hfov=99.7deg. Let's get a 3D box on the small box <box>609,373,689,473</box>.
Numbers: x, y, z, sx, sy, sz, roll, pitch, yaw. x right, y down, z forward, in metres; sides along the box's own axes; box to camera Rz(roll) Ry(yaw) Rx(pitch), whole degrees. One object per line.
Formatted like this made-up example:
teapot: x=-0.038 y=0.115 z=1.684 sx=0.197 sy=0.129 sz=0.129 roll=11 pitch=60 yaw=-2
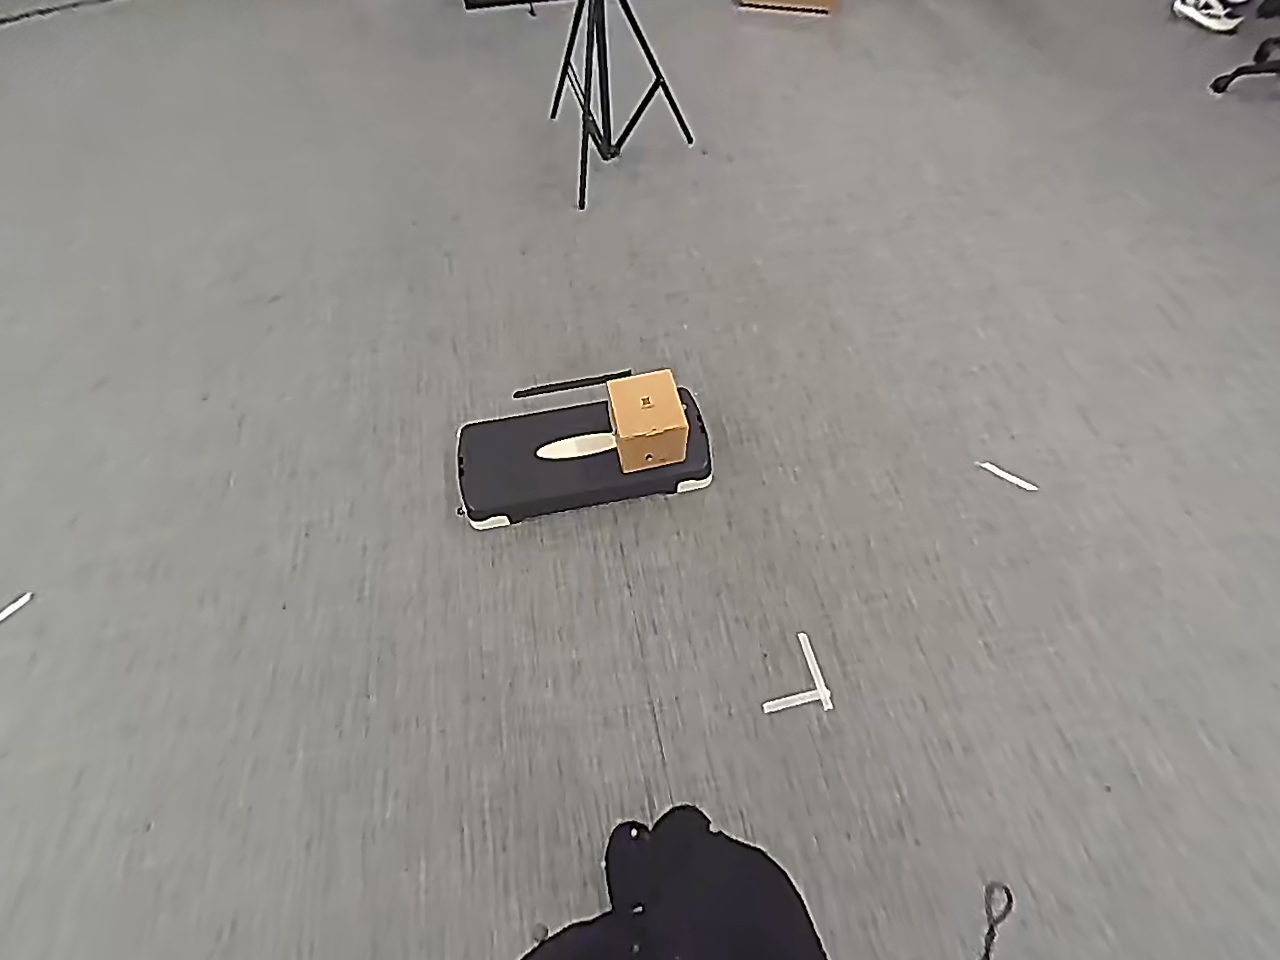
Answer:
small box: x=0.018 y=-0.141 z=1.368 sx=0.168 sy=0.176 sz=0.179 roll=-12 pitch=64 yaw=-6
